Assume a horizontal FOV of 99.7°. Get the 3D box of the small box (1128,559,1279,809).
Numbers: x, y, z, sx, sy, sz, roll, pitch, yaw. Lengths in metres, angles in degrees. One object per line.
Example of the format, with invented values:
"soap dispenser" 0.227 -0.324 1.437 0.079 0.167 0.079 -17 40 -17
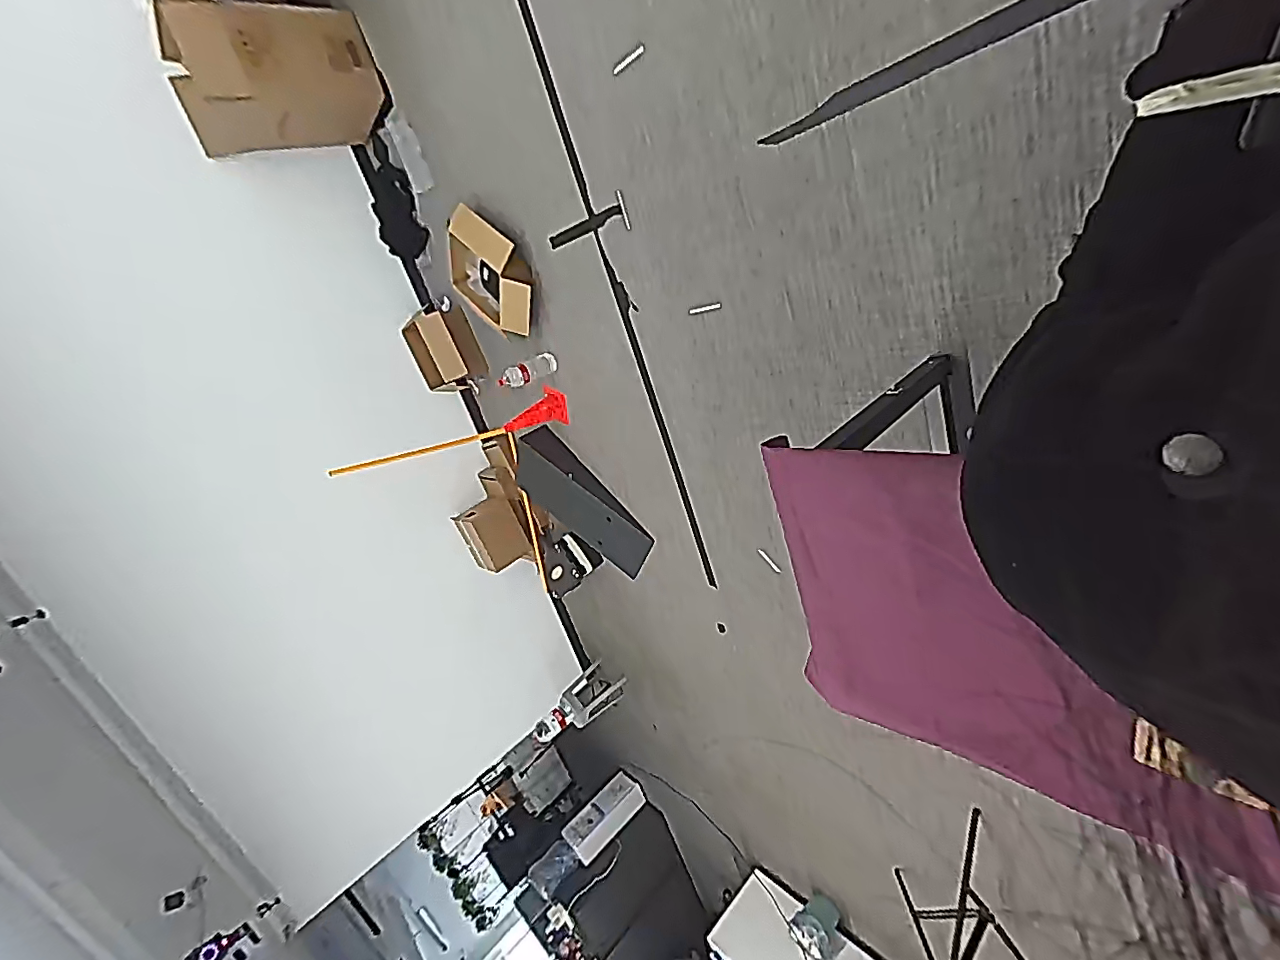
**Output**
"small box" 0.652 0.214 0.578 0.168 0.176 0.179 9 124 48
